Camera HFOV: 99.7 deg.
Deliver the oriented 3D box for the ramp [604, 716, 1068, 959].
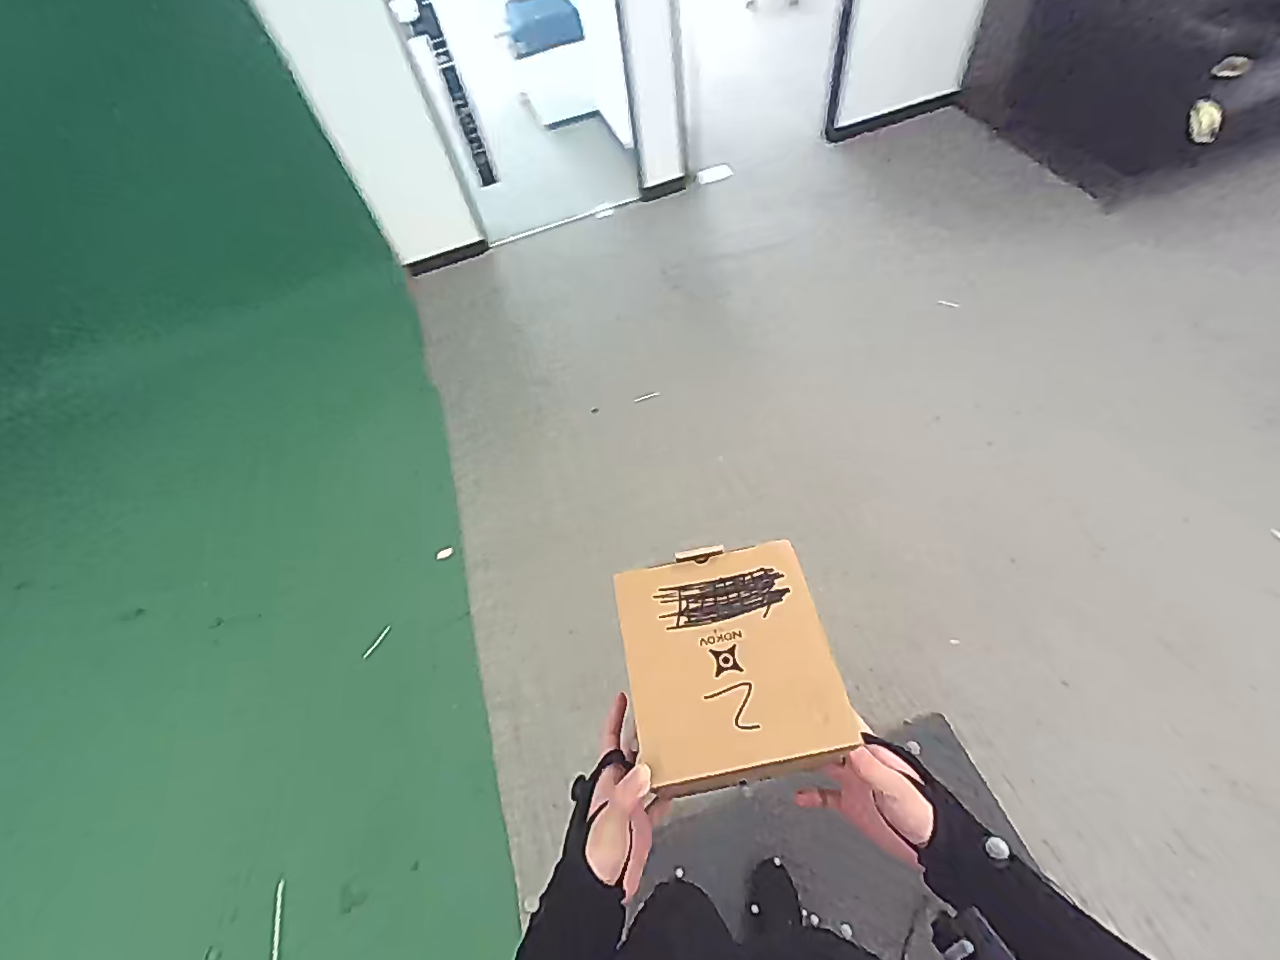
[{"bbox_3d":[0.457,0.966,1.286,0.991,0.206,0.509,-21,55,-6],"label":"ramp"}]
